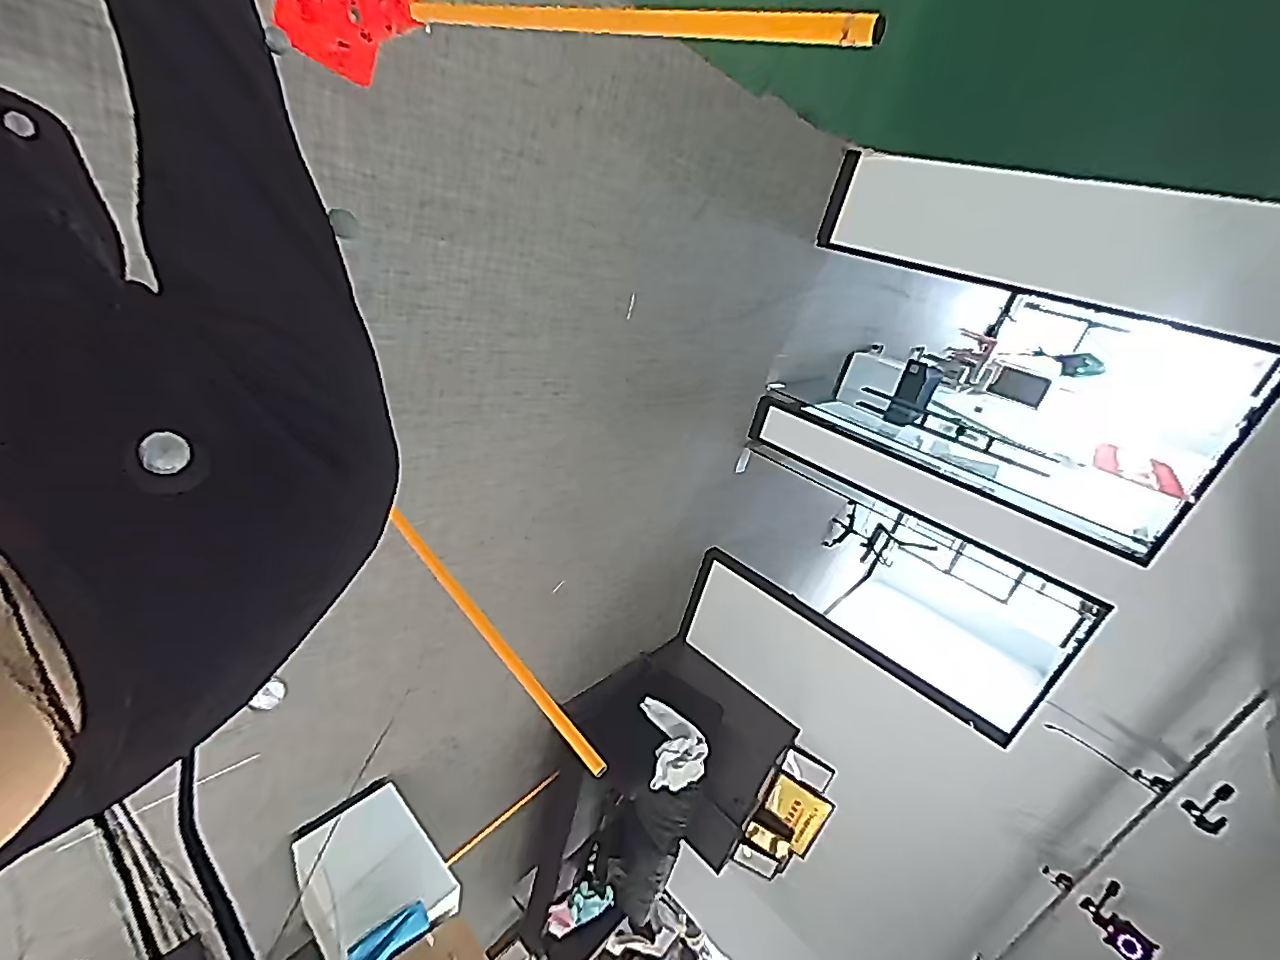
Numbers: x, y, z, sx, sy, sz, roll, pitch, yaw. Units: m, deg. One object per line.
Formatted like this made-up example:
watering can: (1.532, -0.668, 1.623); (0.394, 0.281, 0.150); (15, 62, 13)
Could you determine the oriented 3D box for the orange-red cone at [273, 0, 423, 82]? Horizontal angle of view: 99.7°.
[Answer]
orange-red cone: (-0.519, -0.905, 1.039); (0.198, 0.360, 0.199); (2, 116, -54)
